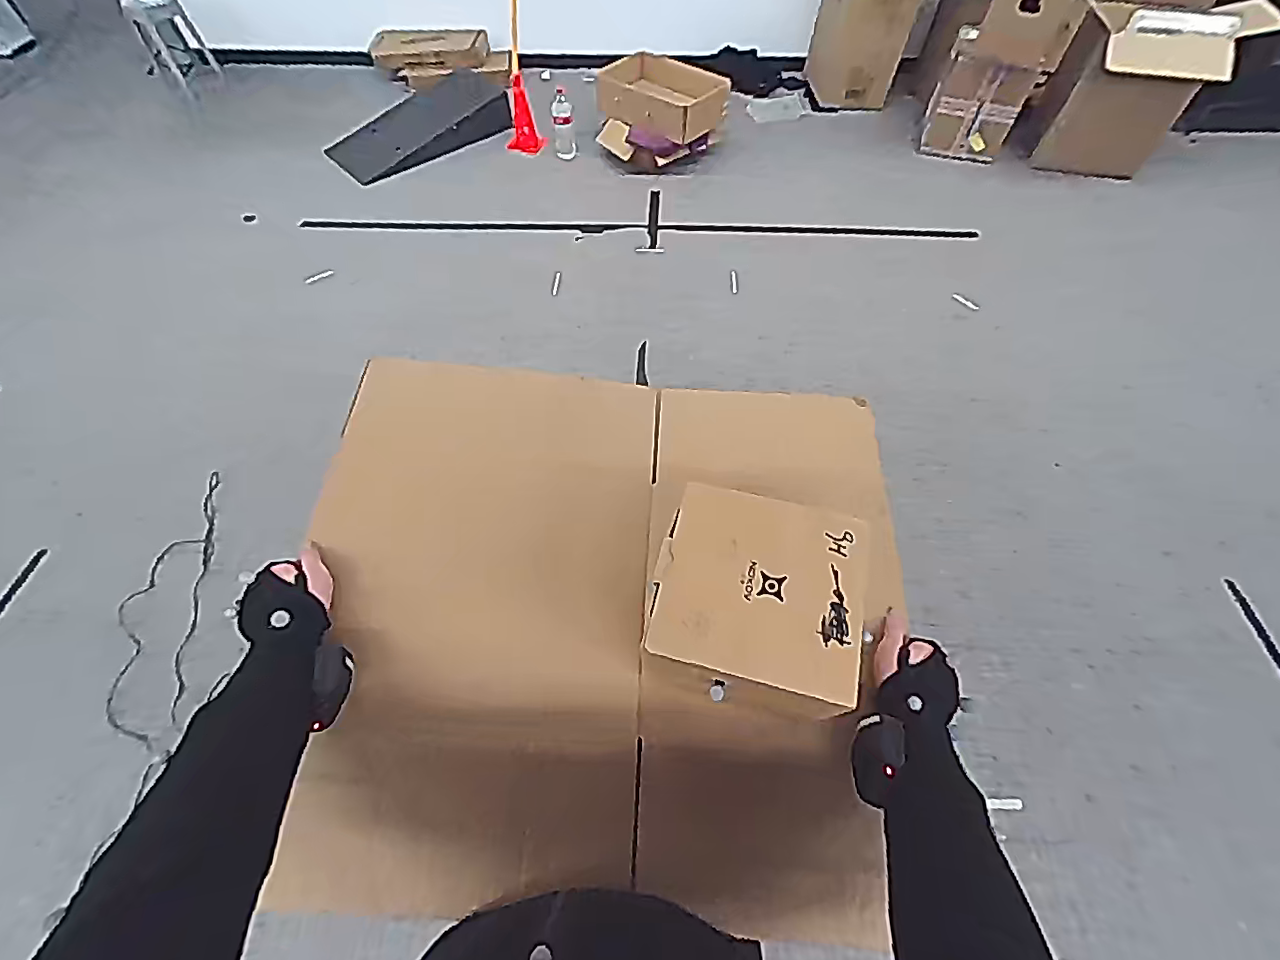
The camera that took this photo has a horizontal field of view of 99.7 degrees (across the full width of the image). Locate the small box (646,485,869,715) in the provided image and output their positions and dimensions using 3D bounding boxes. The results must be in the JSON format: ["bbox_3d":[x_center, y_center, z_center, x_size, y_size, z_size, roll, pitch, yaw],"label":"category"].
[{"bbox_3d":[0.113,0.129,0.550,0.179,0.176,0.168,12,63,9],"label":"small box"}]
